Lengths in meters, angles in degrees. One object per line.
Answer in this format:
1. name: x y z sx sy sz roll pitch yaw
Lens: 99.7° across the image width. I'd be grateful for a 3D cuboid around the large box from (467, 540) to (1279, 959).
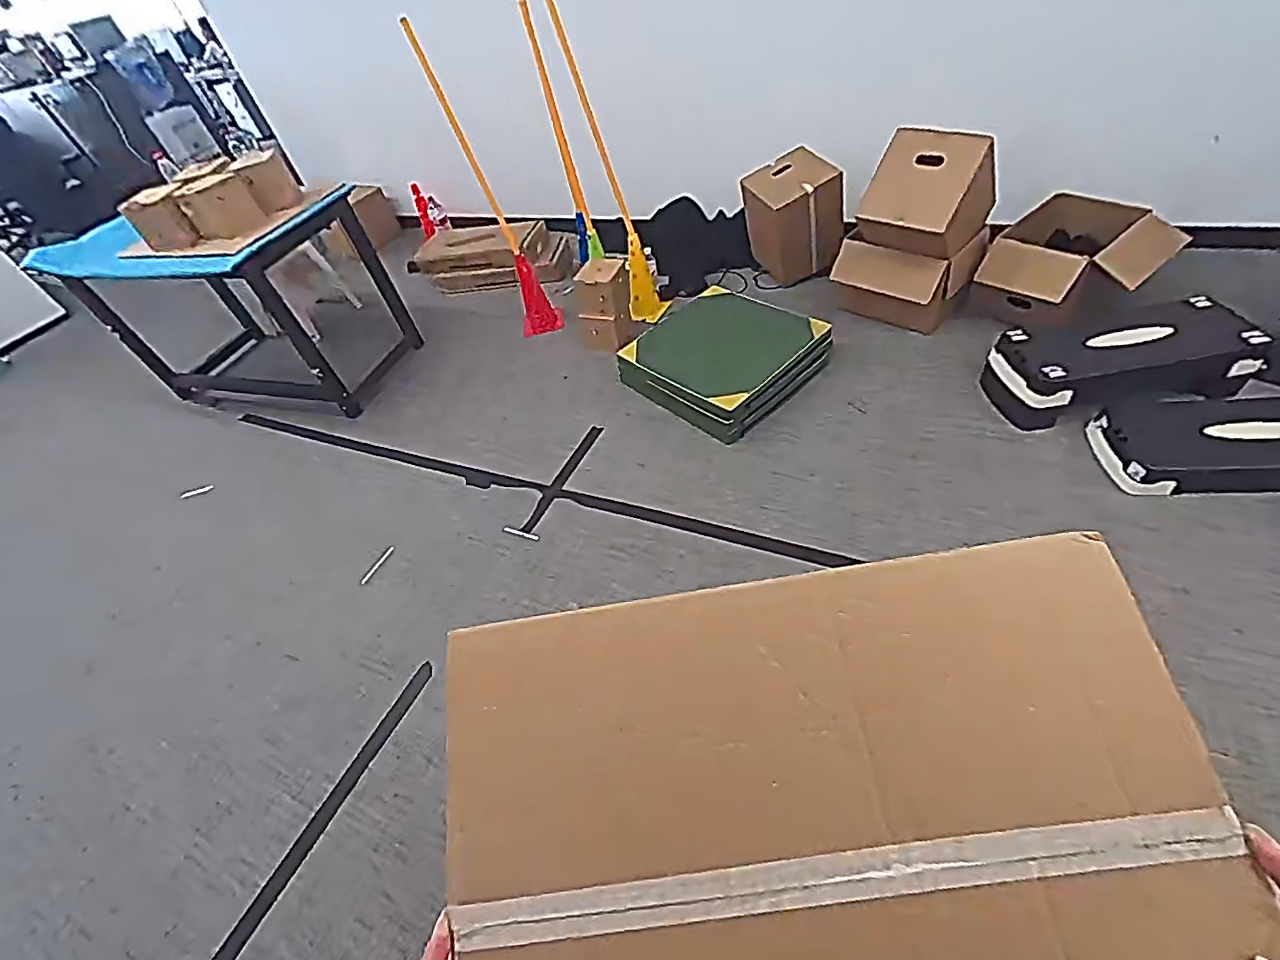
1. large box: 0.117 0.266 0.427 0.408 0.320 0.320 -10 69 4
